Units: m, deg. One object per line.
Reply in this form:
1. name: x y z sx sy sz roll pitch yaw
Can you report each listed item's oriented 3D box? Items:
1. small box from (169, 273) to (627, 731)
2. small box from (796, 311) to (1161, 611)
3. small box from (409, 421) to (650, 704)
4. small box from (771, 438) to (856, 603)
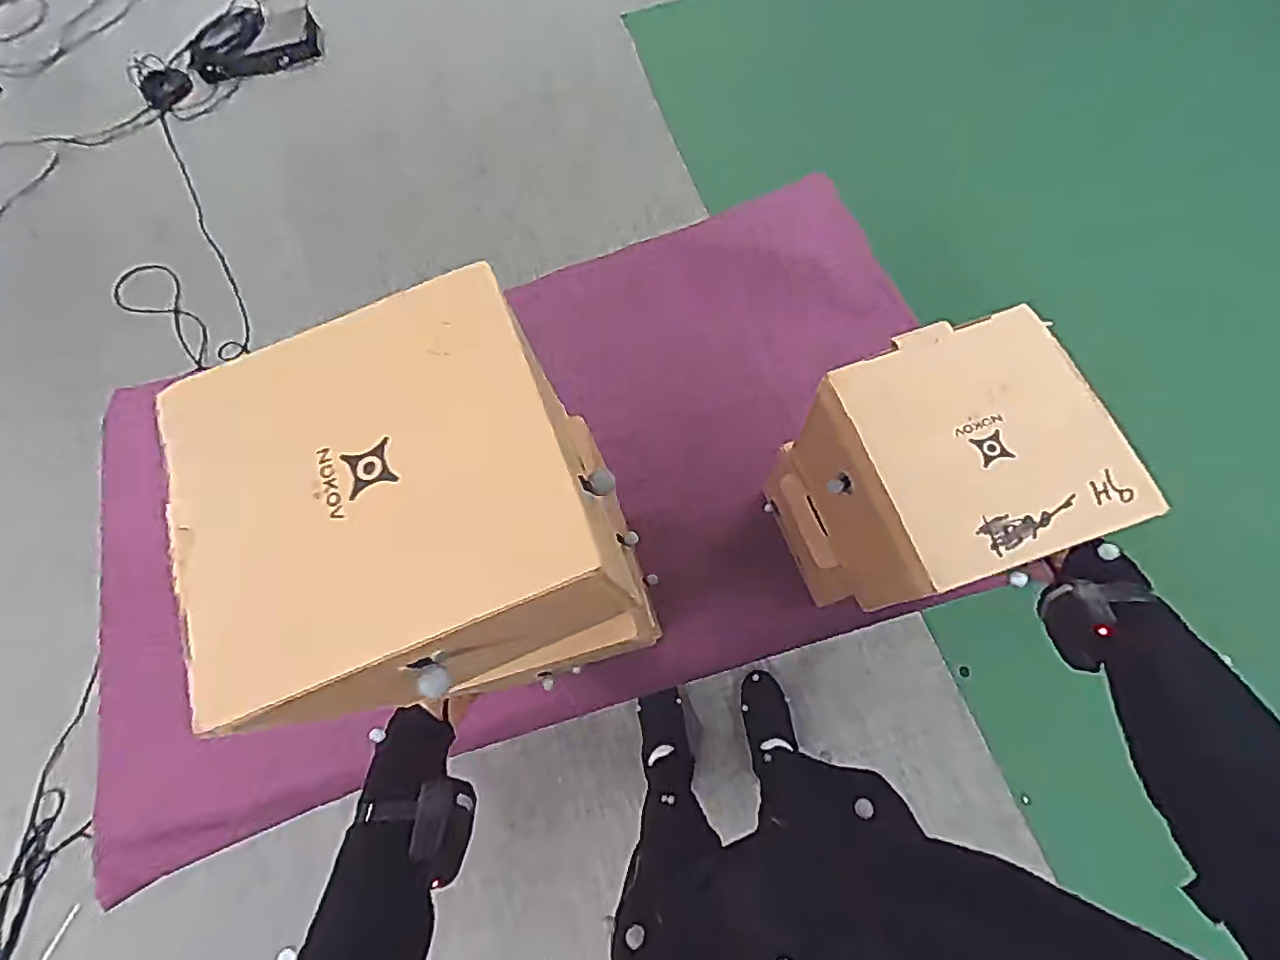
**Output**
1. small box: -0.115 0.022 0.320 0.179 0.176 0.168 -23 72 0
2. small box: 0.249 -0.003 0.458 0.168 0.176 0.179 -19 70 0
3. small box: -0.093 0.077 0.471 0.168 0.176 0.179 -16 71 1
4. small box: 0.263 0.031 0.619 0.179 0.176 0.168 -21 72 -1
